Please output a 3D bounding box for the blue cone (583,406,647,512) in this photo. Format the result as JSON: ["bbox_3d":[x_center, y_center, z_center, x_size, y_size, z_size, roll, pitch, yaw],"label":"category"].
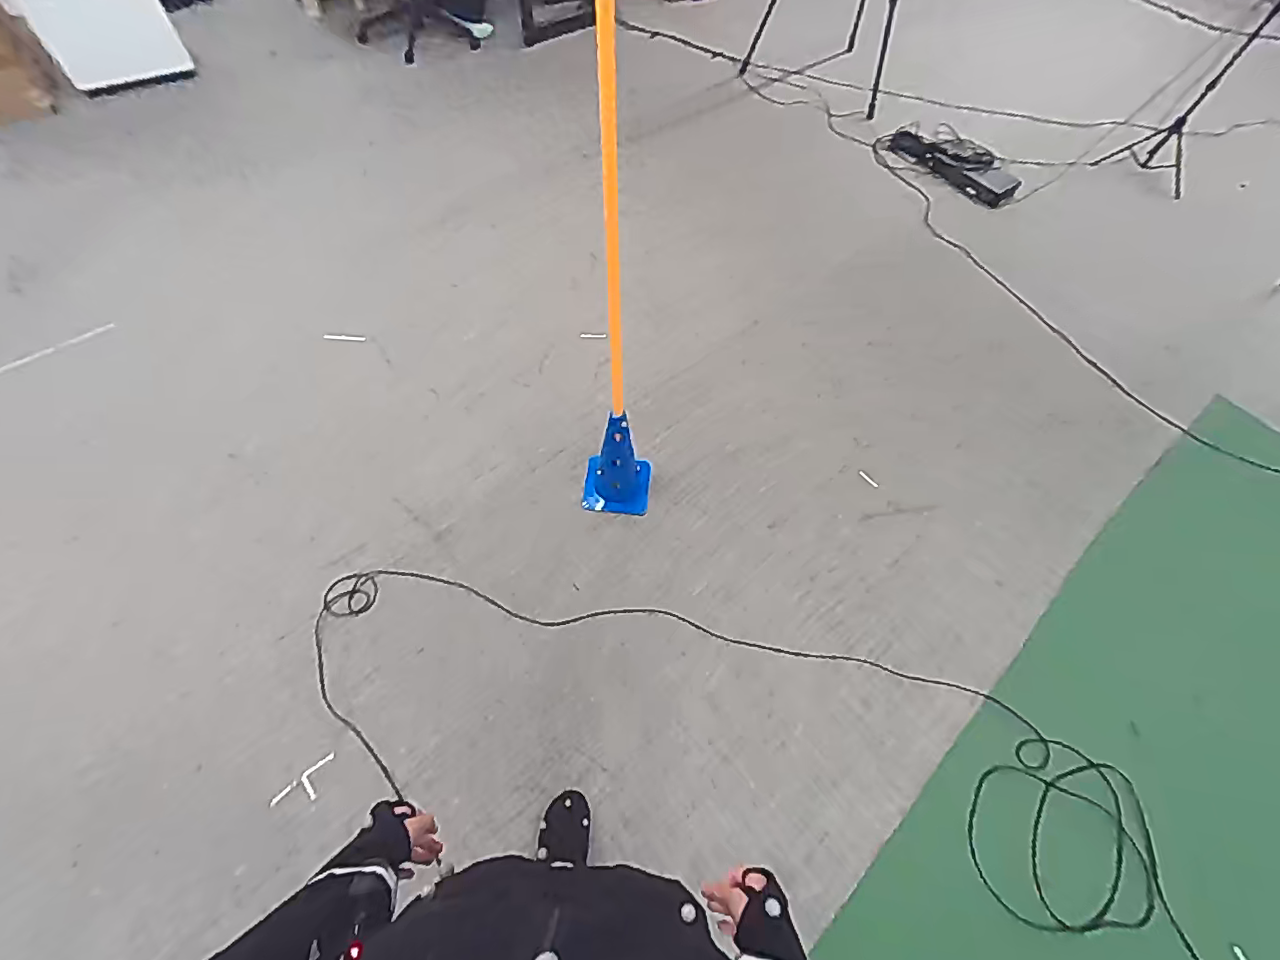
[{"bbox_3d":[-0.067,-0.074,1.520,0.192,0.380,0.193,4,57,0],"label":"blue cone"}]
